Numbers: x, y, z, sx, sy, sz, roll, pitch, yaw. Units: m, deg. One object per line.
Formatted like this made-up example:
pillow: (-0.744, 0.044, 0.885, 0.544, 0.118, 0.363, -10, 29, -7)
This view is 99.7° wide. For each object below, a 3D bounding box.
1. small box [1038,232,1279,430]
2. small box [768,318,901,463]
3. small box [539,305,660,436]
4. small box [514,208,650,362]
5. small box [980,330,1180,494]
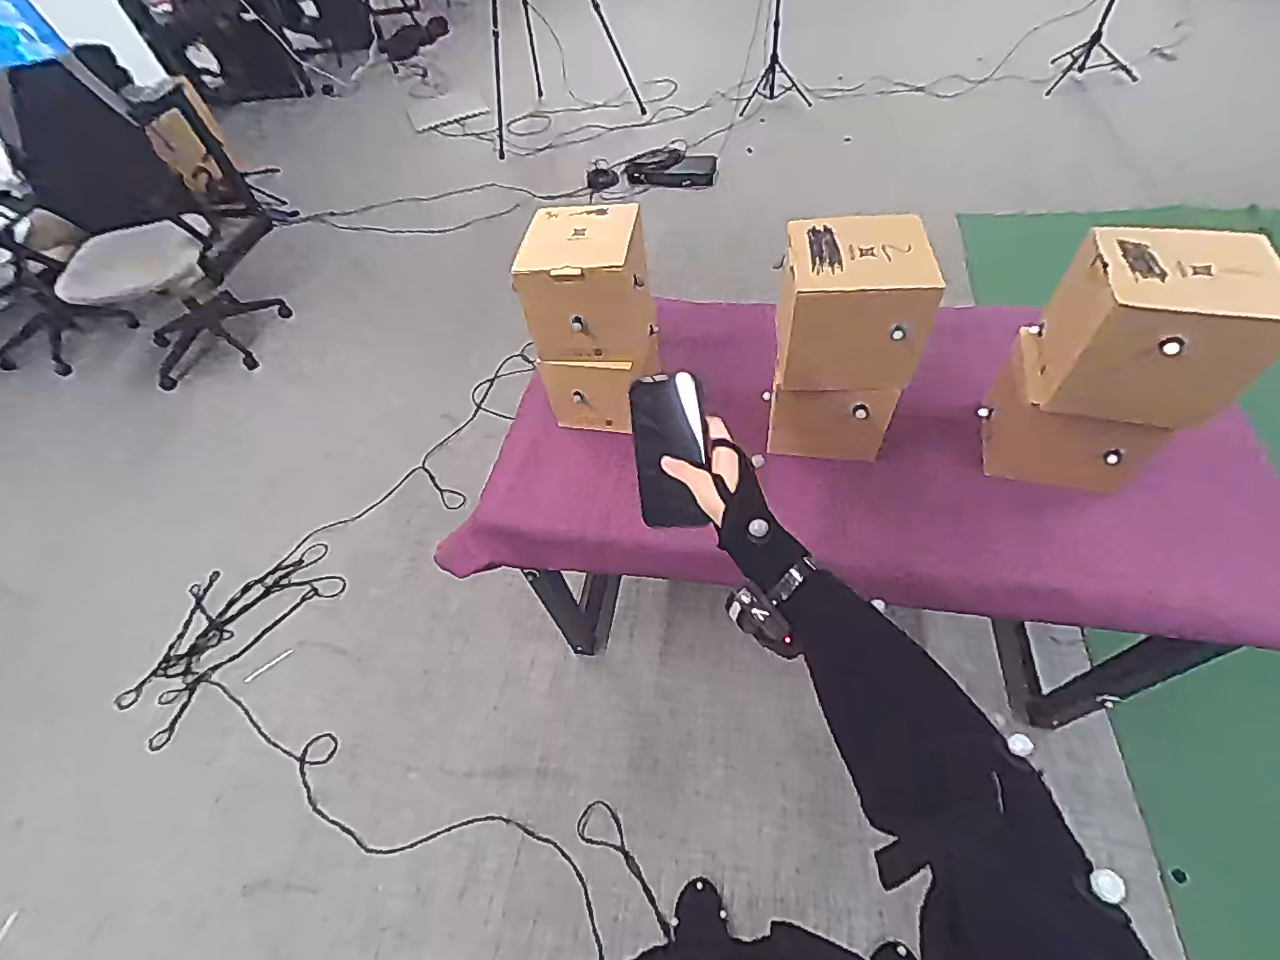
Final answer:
small box: (0.626, -0.182, 0.671, 0.179, 0.176, 0.168, 11, 56, 15)
small box: (0.313, -0.144, 0.892, 0.179, 0.176, 0.168, 6, 55, 13)
small box: (-0.062, -0.200, 0.989, 0.168, 0.176, 0.179, 6, 55, 13)
small box: (-0.080, -0.304, 0.863, 0.168, 0.176, 0.179, 3, 55, 9)
small box: (0.640, -0.098, 0.811, 0.179, 0.176, 0.168, 11, 55, 16)
